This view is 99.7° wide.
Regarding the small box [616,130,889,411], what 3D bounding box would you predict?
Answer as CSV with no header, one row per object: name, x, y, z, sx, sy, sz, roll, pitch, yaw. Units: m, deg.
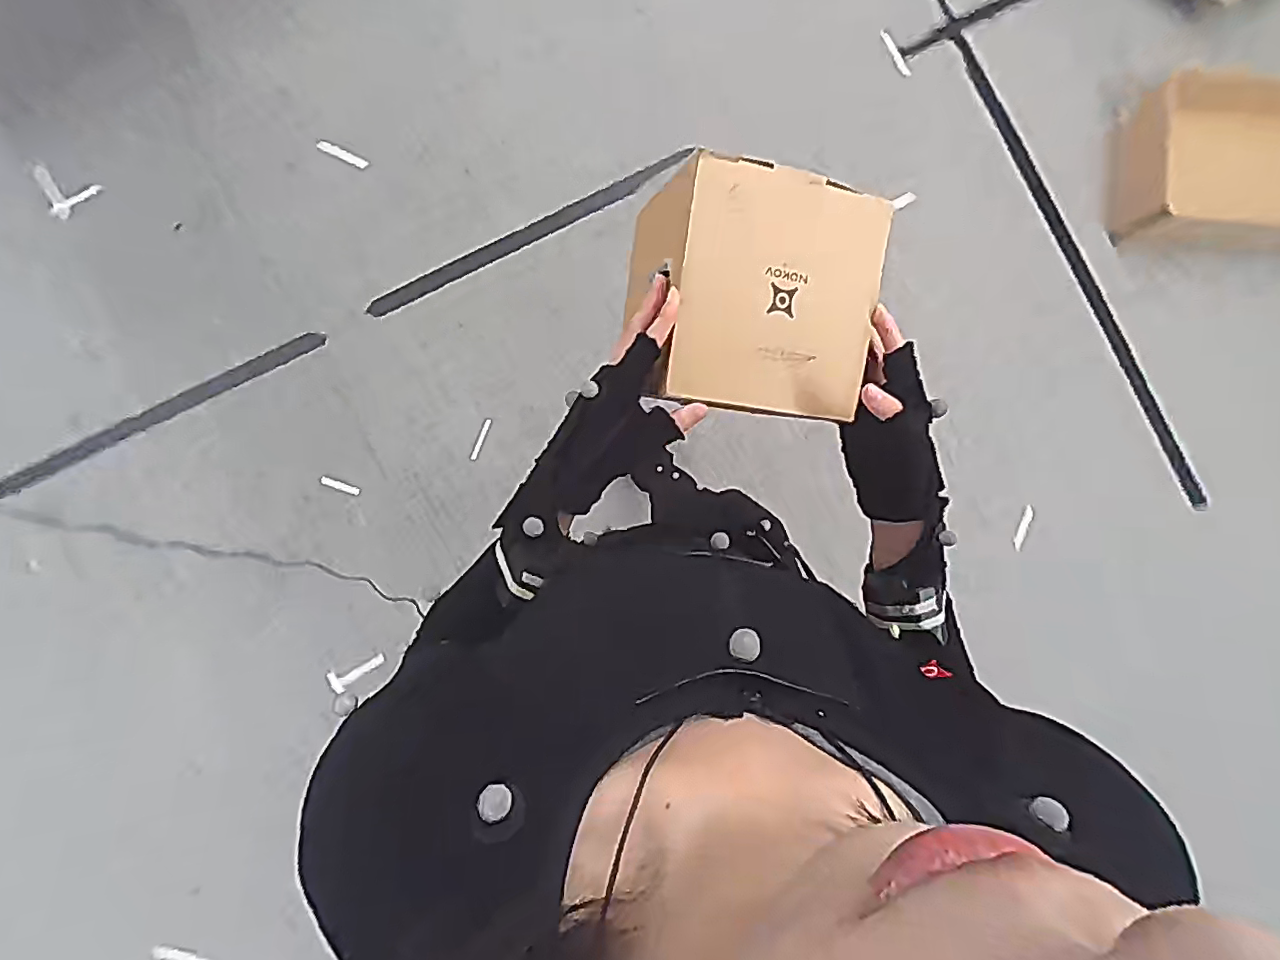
small box,0.082,-0.159,0.476,0.168,0.176,0.179,5,97,-16
